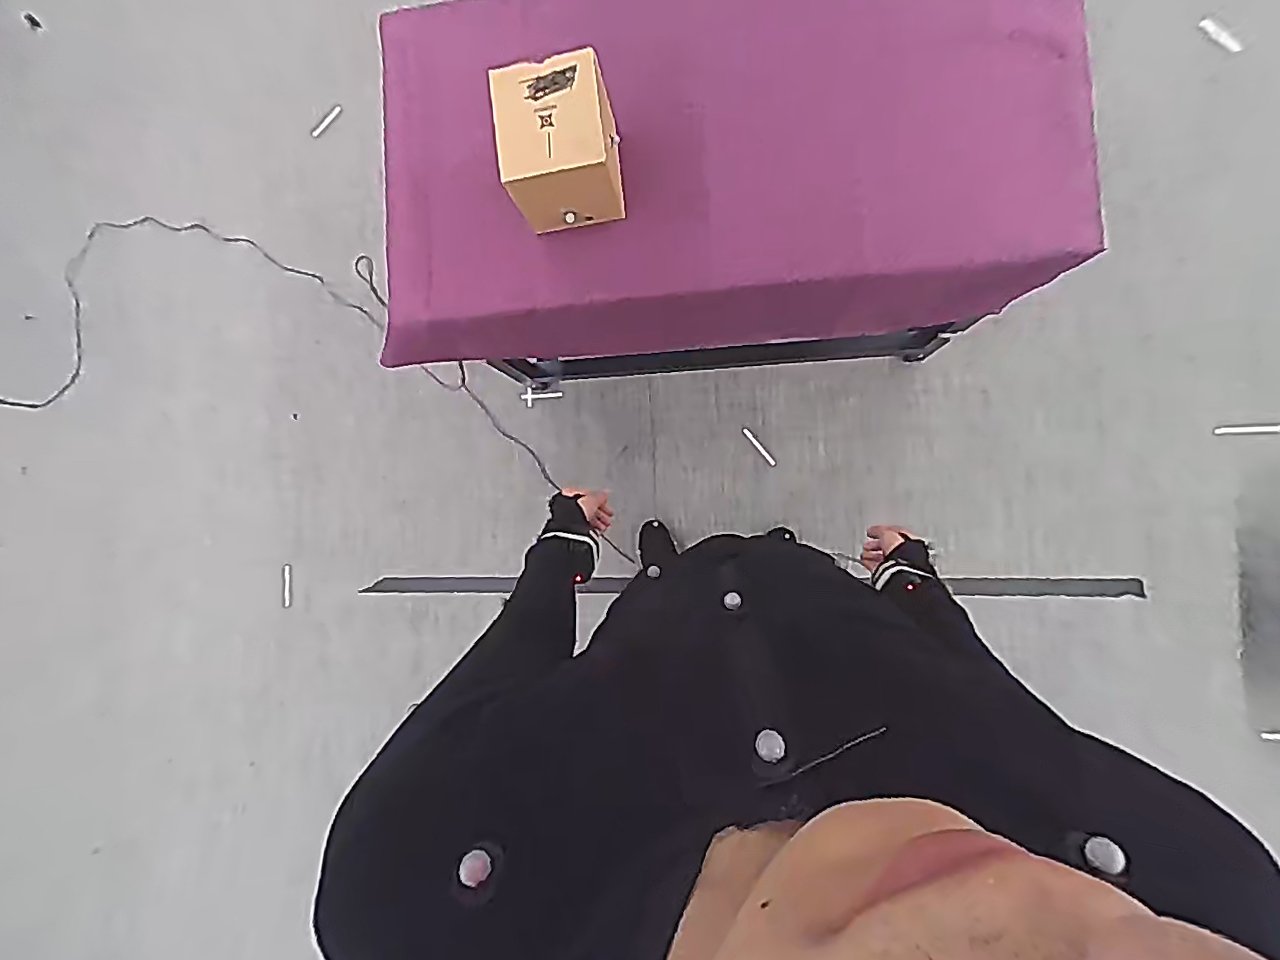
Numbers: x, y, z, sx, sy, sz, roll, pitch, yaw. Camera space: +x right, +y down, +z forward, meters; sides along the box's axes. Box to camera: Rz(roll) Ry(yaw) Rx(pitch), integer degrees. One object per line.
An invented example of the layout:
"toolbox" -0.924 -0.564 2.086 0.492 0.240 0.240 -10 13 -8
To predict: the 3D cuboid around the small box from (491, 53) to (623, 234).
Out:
"small box" -0.129 -0.539 0.889 0.168 0.176 0.179 -7 87 8
